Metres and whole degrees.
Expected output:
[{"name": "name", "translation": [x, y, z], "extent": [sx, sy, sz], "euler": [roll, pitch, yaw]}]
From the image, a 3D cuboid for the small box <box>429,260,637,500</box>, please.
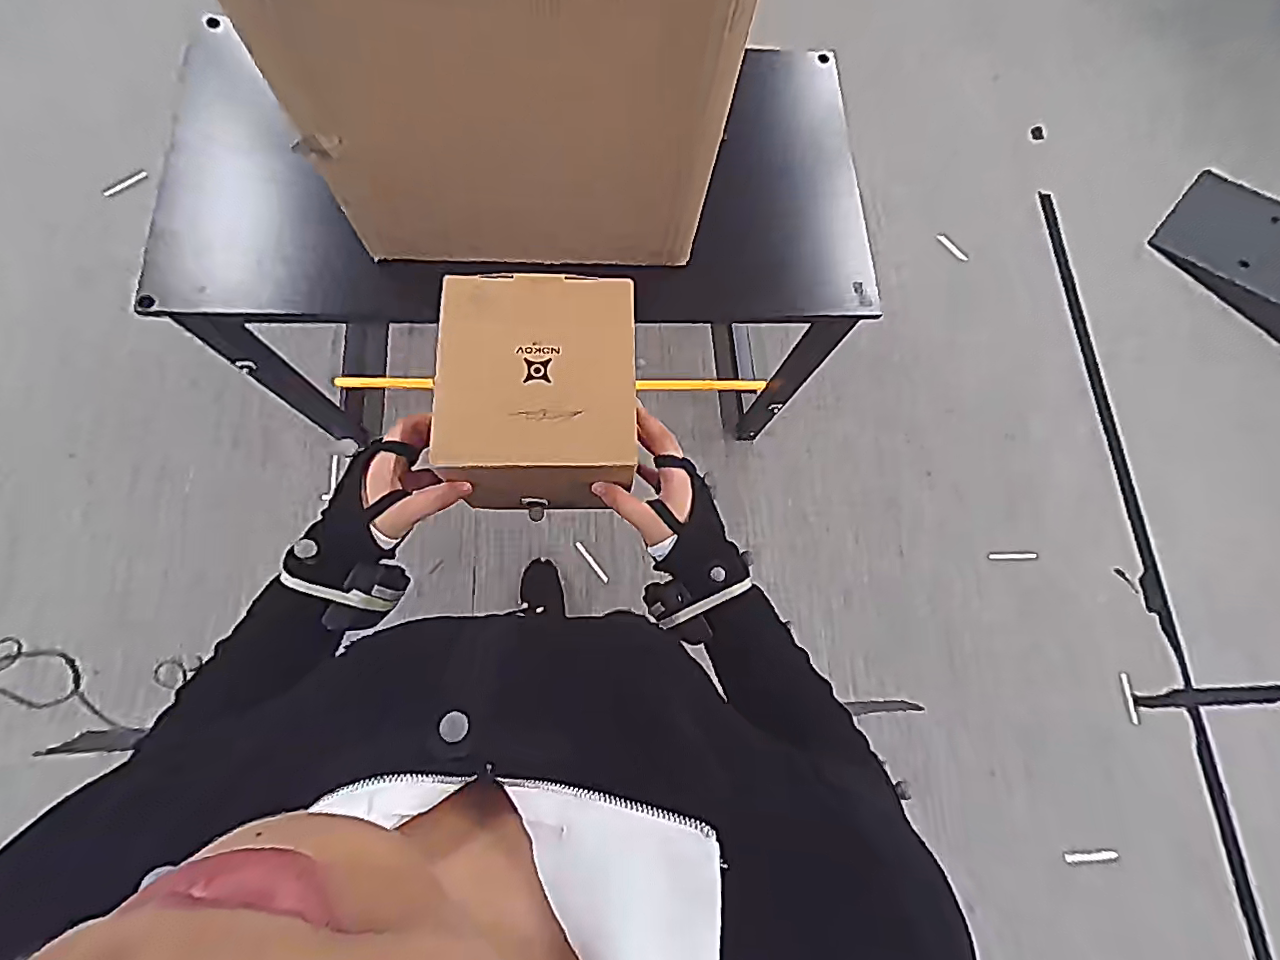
[{"name": "small box", "translation": [-0.092, -0.085, 0.527], "extent": [0.168, 0.176, 0.179], "euler": [0, 75, -5]}]
